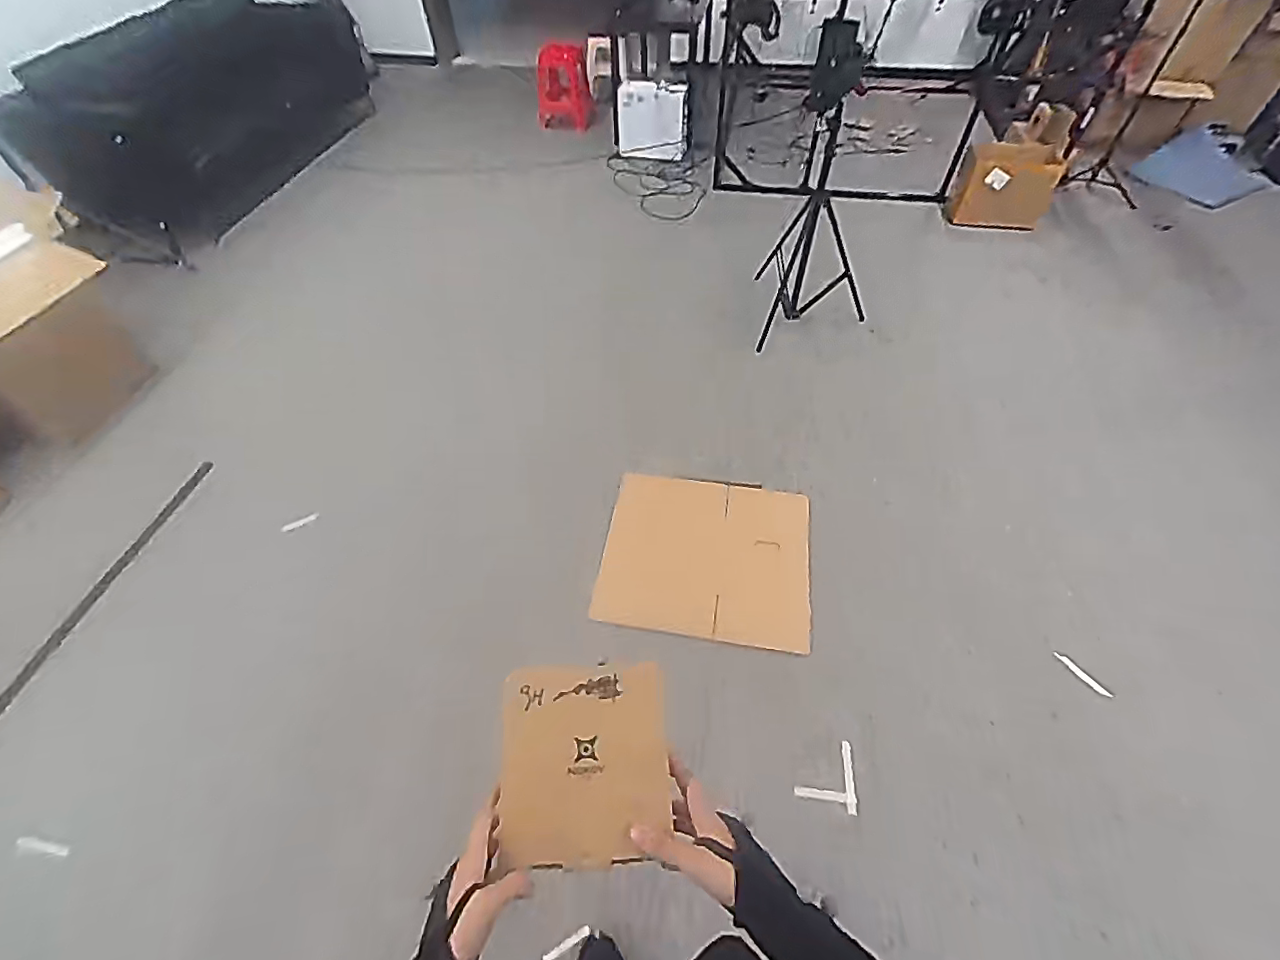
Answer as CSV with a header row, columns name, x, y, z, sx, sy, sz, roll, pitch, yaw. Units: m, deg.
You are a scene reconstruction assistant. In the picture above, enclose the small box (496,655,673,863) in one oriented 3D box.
name,x,y,z,sx,sy,sz,roll,pitch,yaw
small box,-0.052,0.296,0.596,0.168,0.176,0.179,-3,65,-1
